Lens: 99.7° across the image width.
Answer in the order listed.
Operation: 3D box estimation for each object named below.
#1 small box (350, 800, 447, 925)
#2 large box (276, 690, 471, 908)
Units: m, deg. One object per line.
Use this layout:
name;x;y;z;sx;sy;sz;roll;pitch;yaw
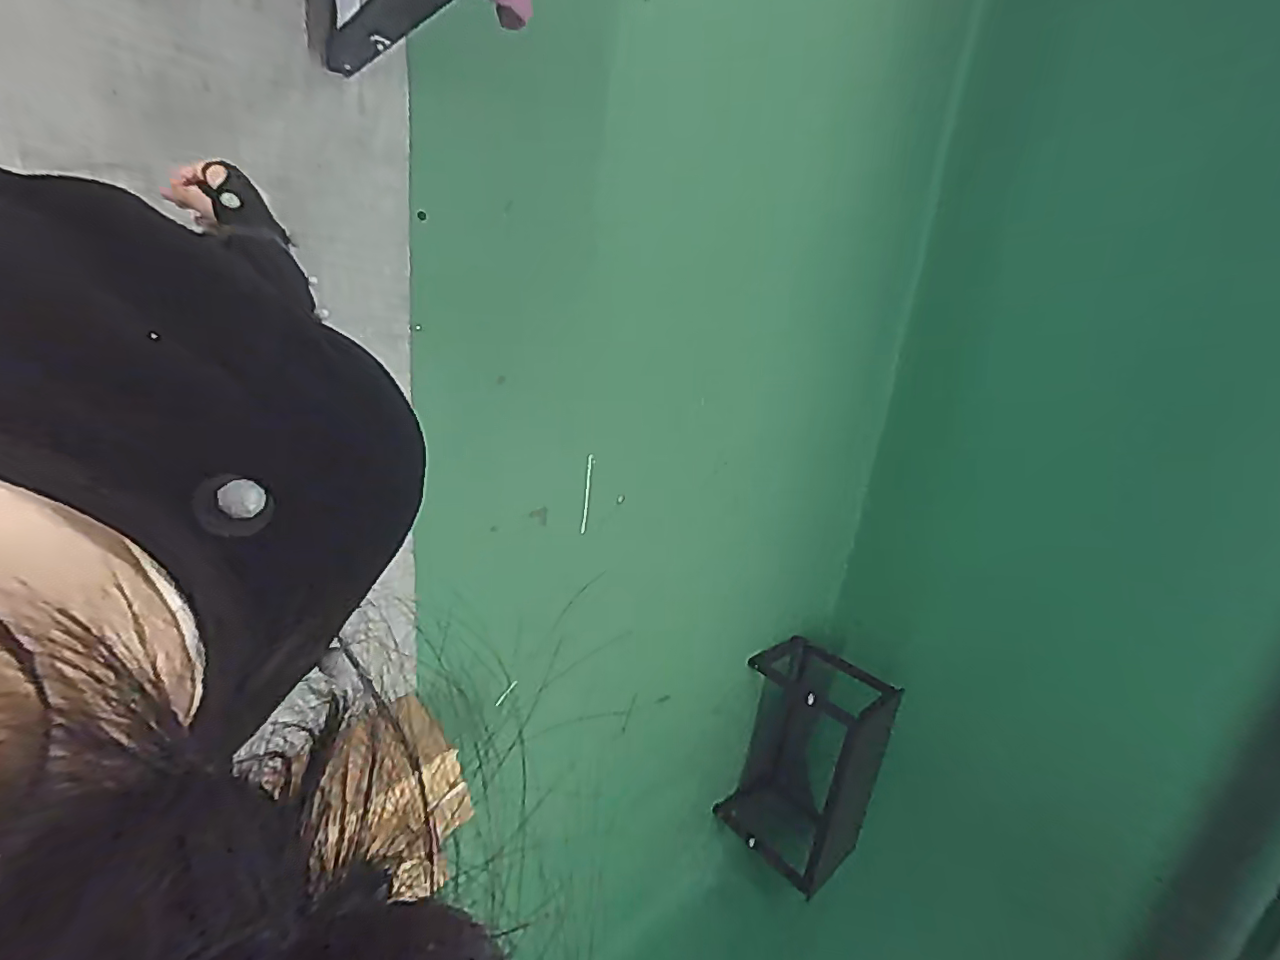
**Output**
small box;-0.644;1.007;1.443;0.179;0.176;0.168;-21;119;-37
large box;-0.789;0.929;1.627;0.408;0.320;0.320;-26;124;-37
